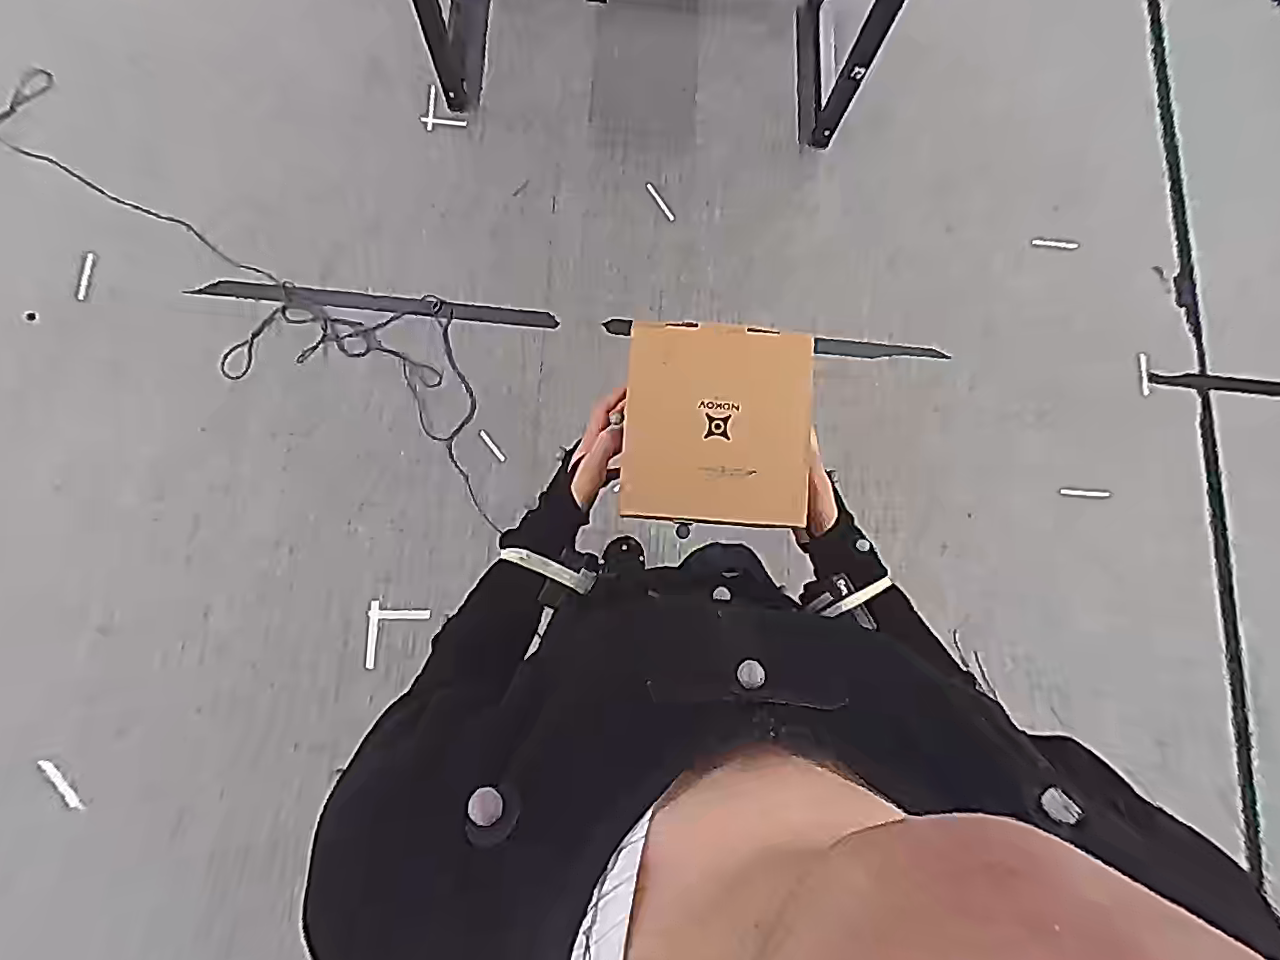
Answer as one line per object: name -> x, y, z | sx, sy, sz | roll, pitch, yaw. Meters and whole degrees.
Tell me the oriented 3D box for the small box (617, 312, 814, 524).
small box -> 0.066, -0.050, 0.552 | 0.168, 0.176, 0.179 | 4, 85, 0
